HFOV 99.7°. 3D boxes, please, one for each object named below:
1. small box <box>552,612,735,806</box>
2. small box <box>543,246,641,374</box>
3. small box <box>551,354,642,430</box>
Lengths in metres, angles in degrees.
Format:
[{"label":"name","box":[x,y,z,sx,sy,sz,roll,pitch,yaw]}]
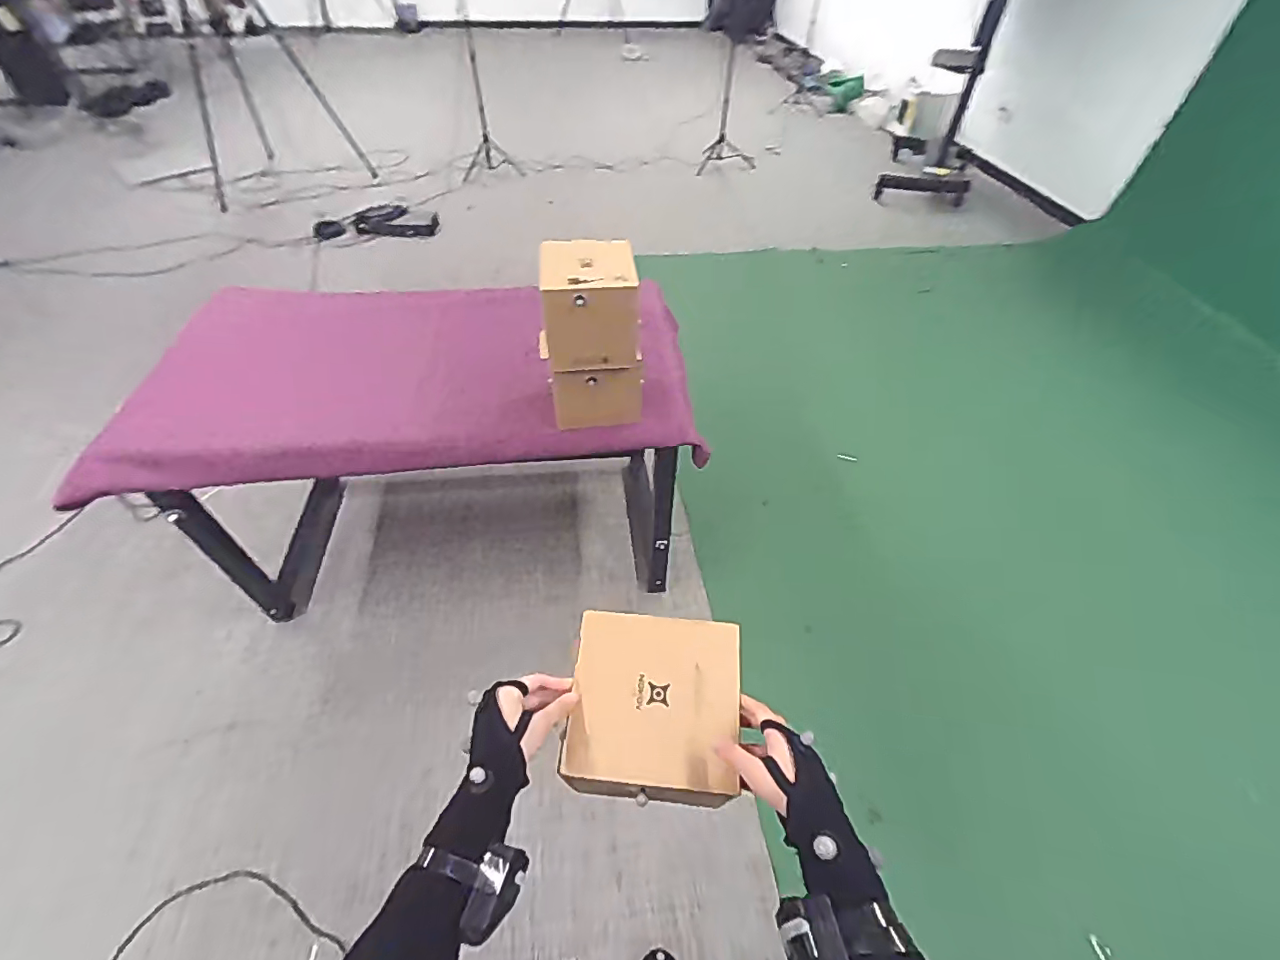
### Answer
[{"label":"small box","box":[0.011,0.267,0.621,0.179,0.176,0.168,5,55,4]},{"label":"small box","box":[-0.089,-0.318,1.012,0.168,0.176,0.179,-4,48,-4]},{"label":"small box","box":[-0.092,-0.221,1.146,0.179,0.176,0.168,-5,49,-6]}]
